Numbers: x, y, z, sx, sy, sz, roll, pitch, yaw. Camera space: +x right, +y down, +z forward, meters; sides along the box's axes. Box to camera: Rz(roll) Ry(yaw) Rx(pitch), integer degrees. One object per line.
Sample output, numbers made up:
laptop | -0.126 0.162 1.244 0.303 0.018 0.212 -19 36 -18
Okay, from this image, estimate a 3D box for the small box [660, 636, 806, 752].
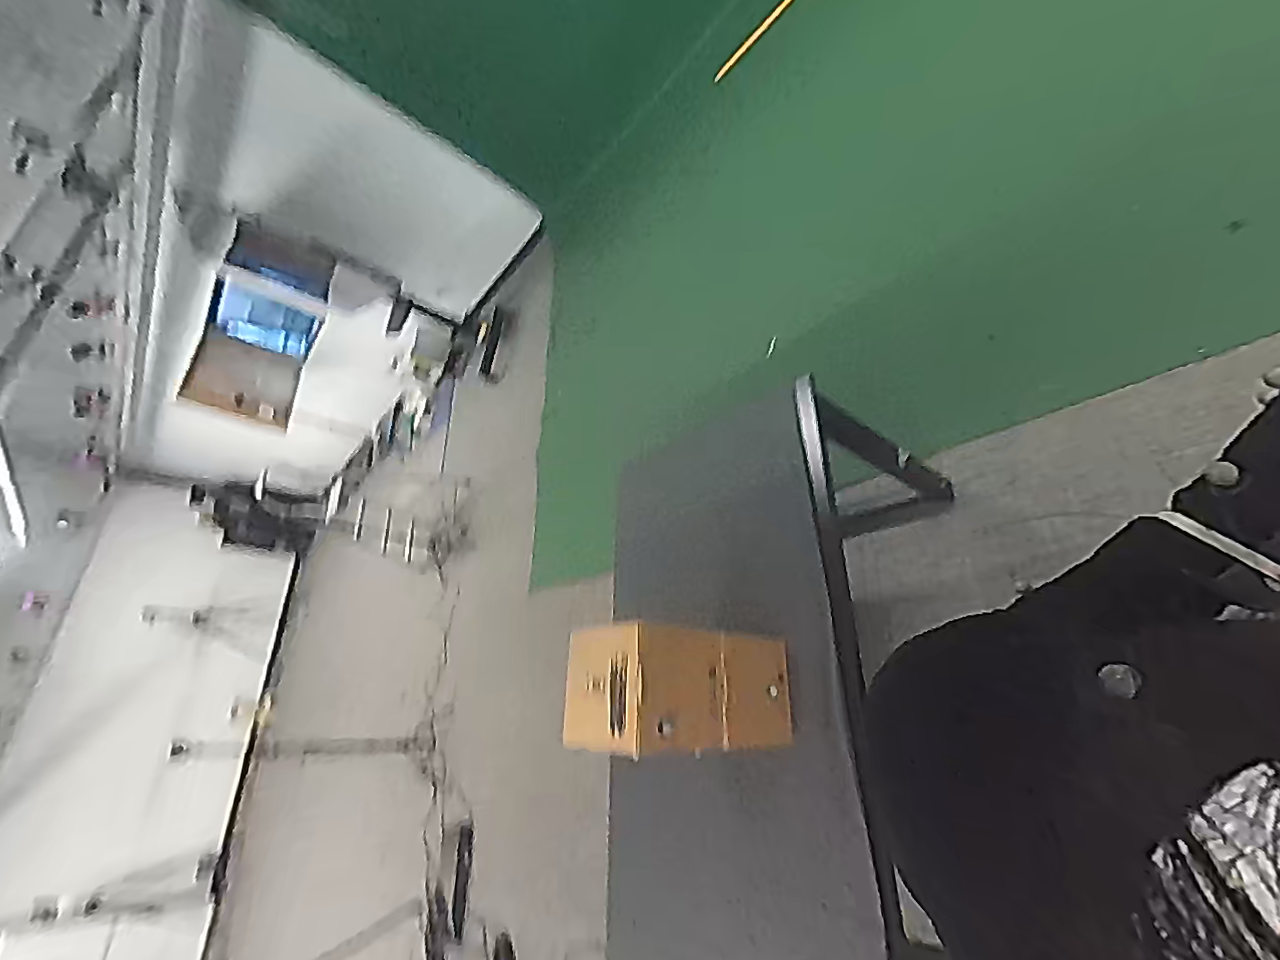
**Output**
small box | 0.153 0.362 0.912 0.179 0.176 0.168 -25 56 45
